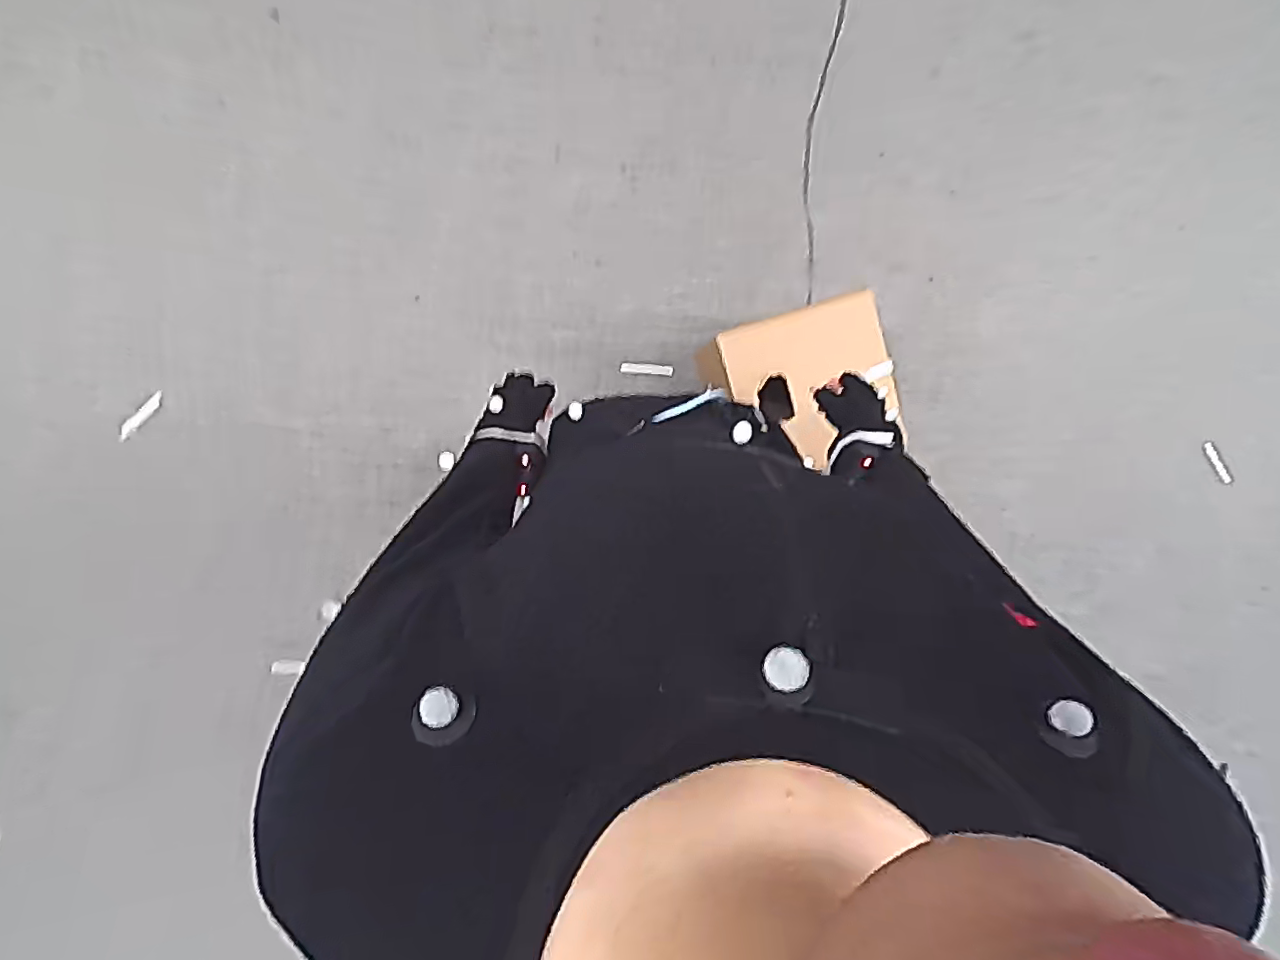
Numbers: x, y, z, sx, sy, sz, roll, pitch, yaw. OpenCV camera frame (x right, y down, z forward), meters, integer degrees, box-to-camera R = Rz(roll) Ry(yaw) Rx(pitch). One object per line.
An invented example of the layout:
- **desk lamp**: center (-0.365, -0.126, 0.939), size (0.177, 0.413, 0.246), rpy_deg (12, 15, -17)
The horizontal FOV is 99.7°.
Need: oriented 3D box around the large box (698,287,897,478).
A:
- **large box**: center (0.338, -0.217, 1.262), size (0.320, 0.408, 0.320), rpy_deg (-16, 98, 4)
